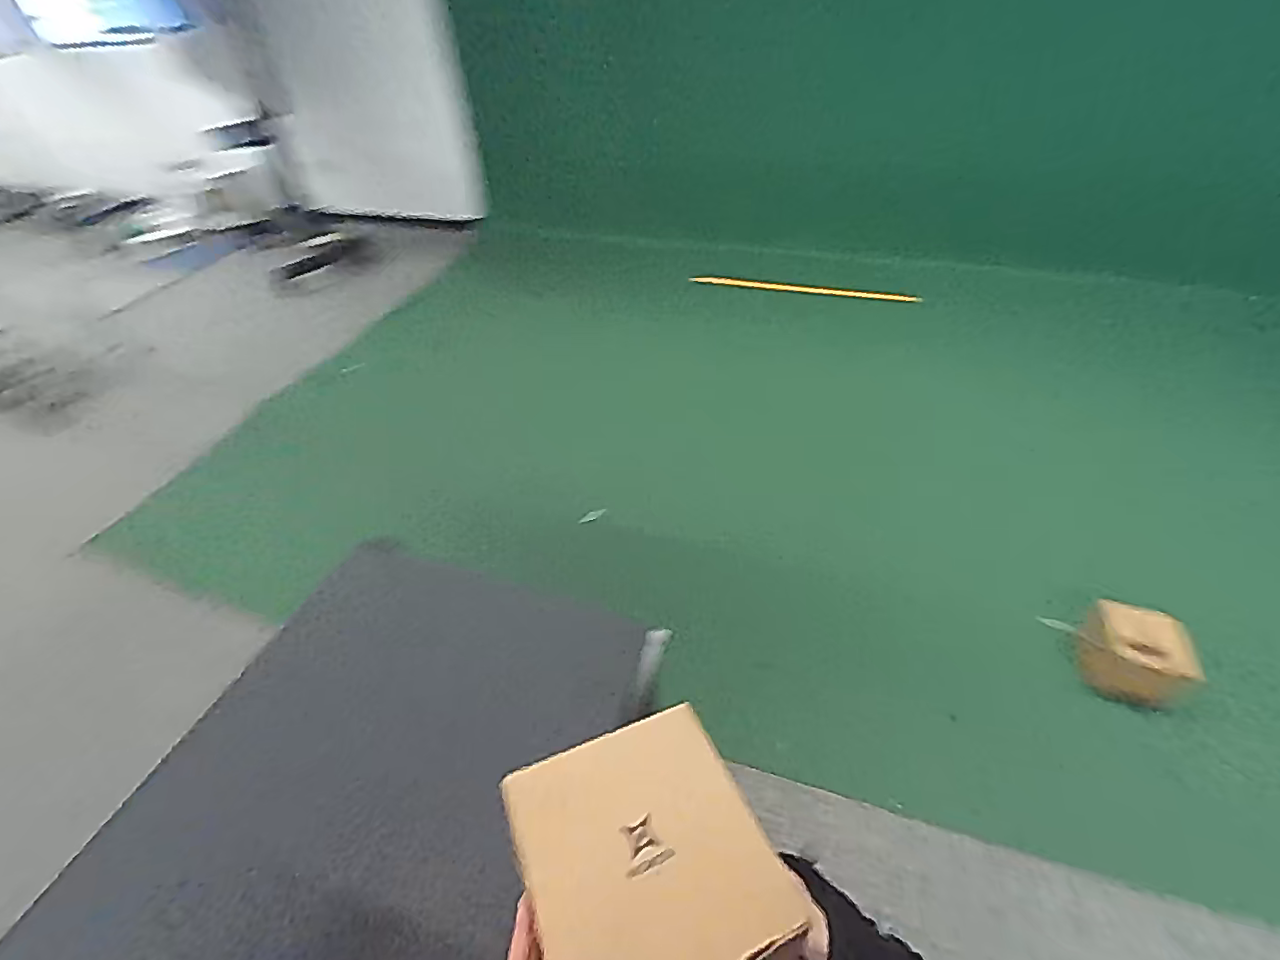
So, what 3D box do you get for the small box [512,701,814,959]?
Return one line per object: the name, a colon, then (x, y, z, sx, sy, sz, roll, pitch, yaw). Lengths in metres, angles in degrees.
small box: (0.004, 0.322, 0.429, 0.168, 0.176, 0.179, -13, 36, -20)
